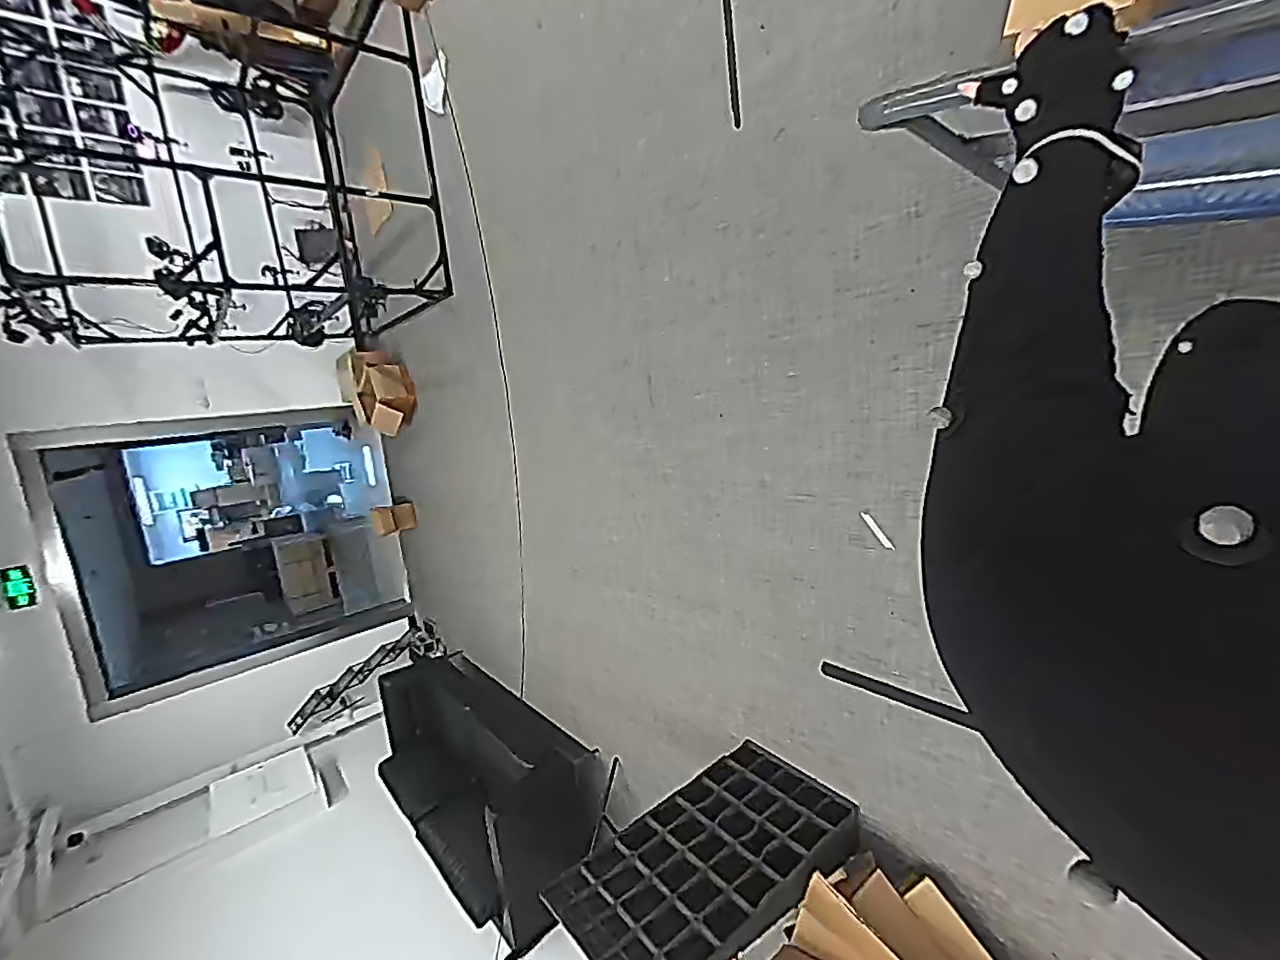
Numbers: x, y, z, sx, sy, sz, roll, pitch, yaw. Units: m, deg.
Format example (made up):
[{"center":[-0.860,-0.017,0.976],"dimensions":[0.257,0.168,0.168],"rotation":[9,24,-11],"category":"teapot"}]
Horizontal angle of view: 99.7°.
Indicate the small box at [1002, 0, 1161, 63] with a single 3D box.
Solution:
[{"center":[0.737,-0.818,0.884],"dimensions":[0.179,0.176,0.168],"rotation":[24,118,43],"category":"small box"}]
